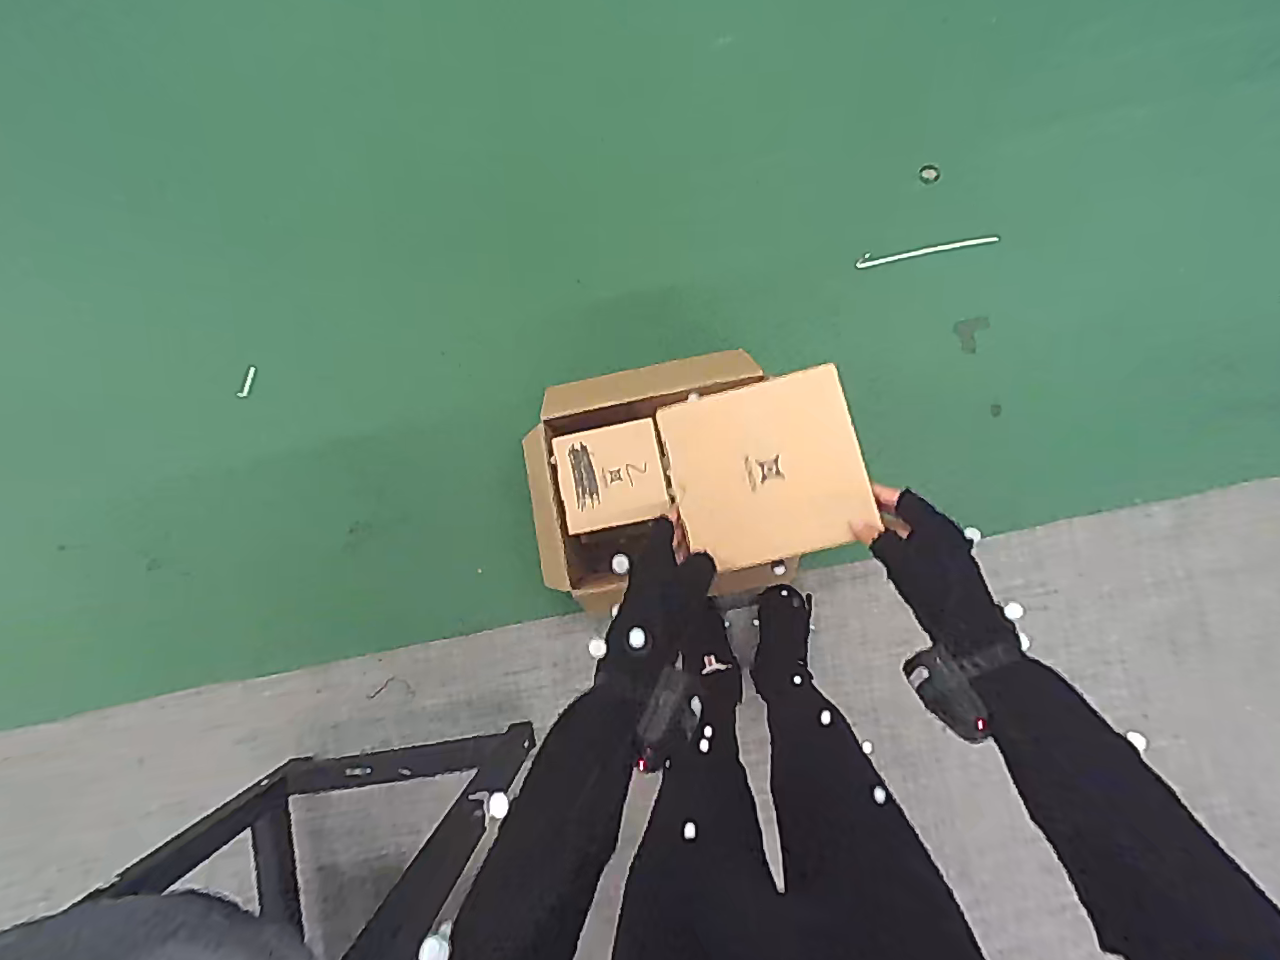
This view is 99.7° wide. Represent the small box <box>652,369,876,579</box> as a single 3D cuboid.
[{"bbox_3d":[0.125,0.001,0.586,0.179,0.176,0.168,-16,82,8],"label":"small box"}]
